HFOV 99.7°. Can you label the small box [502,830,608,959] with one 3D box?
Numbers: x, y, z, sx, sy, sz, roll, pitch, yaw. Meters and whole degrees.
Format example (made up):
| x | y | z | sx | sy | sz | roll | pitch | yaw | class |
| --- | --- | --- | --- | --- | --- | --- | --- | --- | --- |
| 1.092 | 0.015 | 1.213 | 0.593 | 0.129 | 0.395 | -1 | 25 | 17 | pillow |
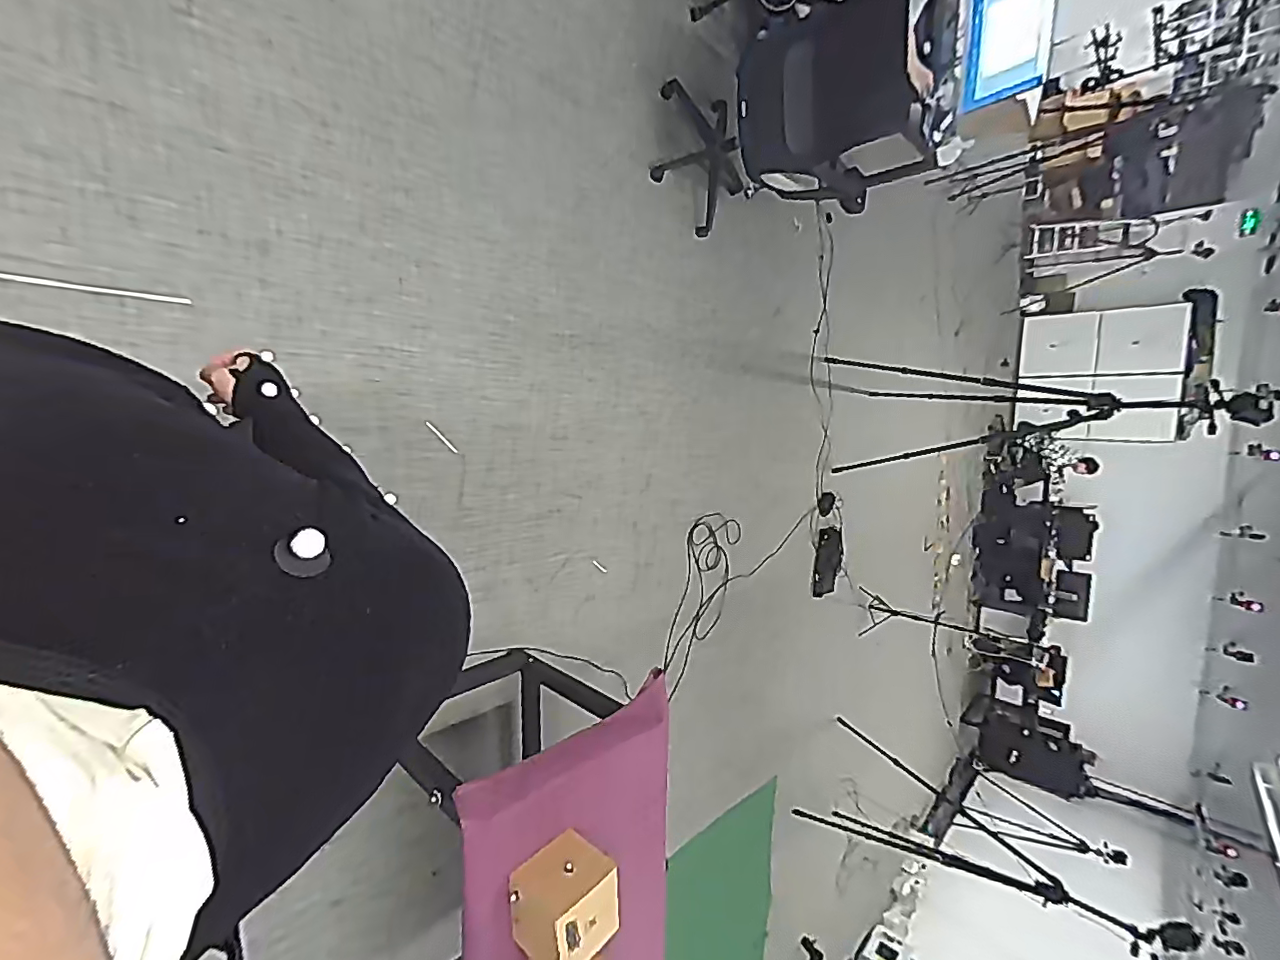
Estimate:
| x | y | z | sx | sy | sz | roll | pitch | yaw | class |
| --- | --- | --- | --- | --- | --- | --- | --- | --- | --- |
| -0.191 | 0.931 | 1.195 | 0.179 | 0.176 | 0.168 | -10 | 103 | -47 | small box |
